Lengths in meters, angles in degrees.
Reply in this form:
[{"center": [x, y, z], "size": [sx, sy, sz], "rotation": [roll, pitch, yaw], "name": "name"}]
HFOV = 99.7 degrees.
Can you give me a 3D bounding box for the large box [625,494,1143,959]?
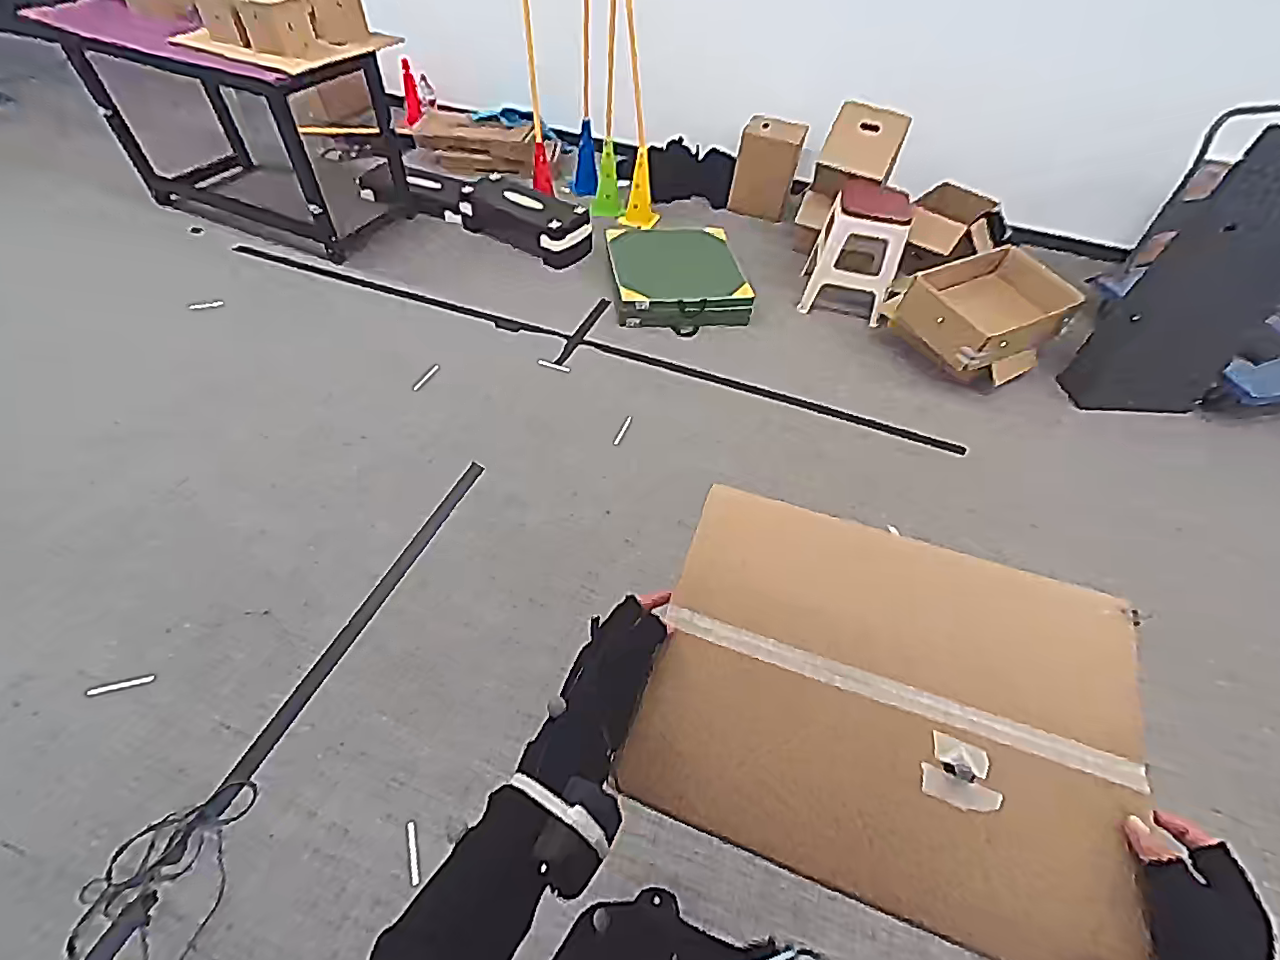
[{"center": [0.229, 0.265, 0.619], "size": [0.408, 0.320, 0.320], "rotation": [17, 63, 14], "name": "large box"}]
